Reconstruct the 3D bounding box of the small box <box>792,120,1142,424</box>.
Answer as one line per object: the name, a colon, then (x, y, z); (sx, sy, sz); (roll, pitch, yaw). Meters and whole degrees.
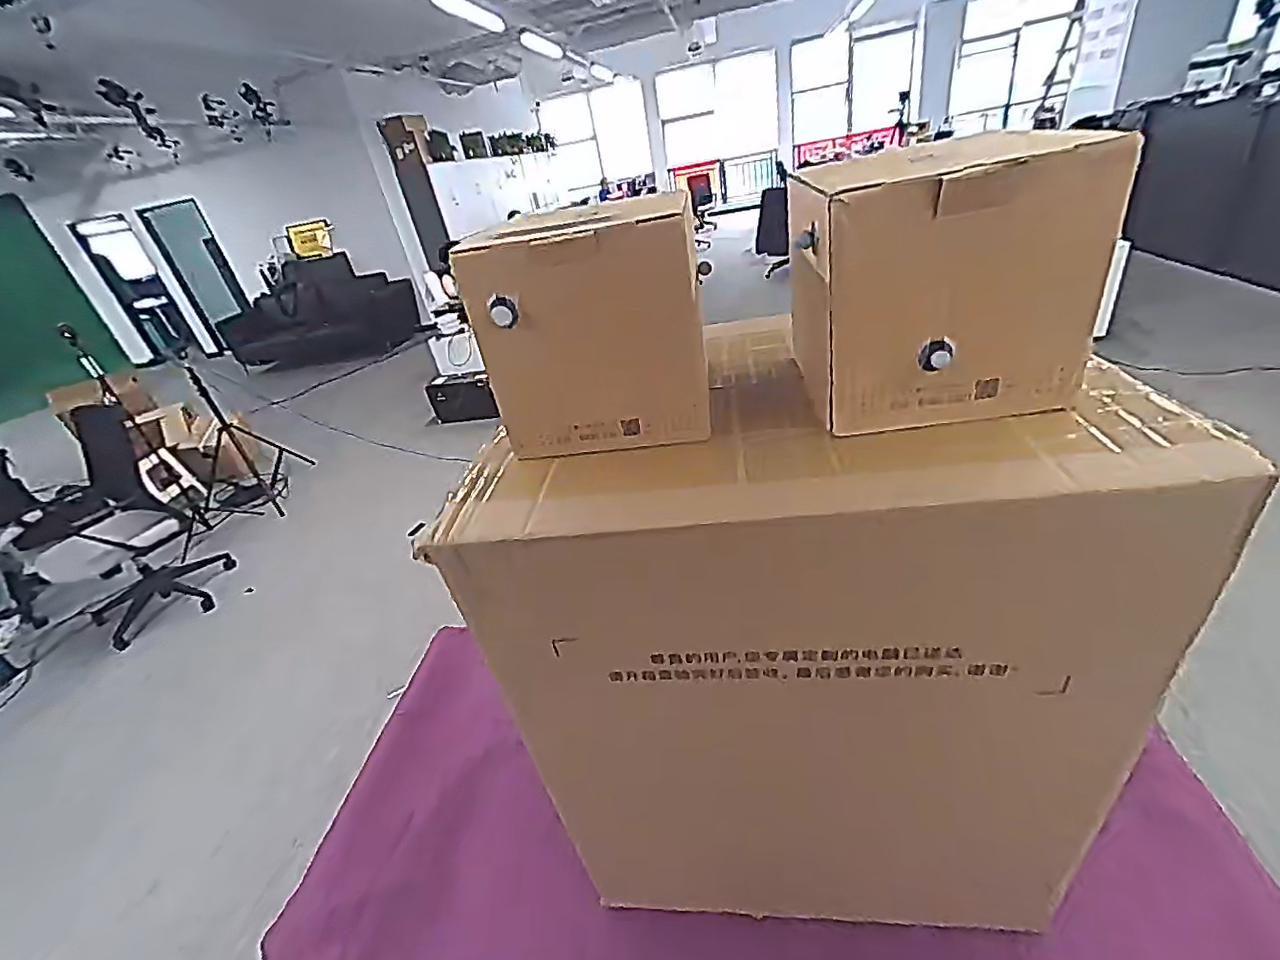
small box: (0.214, -0.160, 0.417); (0.168, 0.176, 0.179); (-7, 32, 9)
